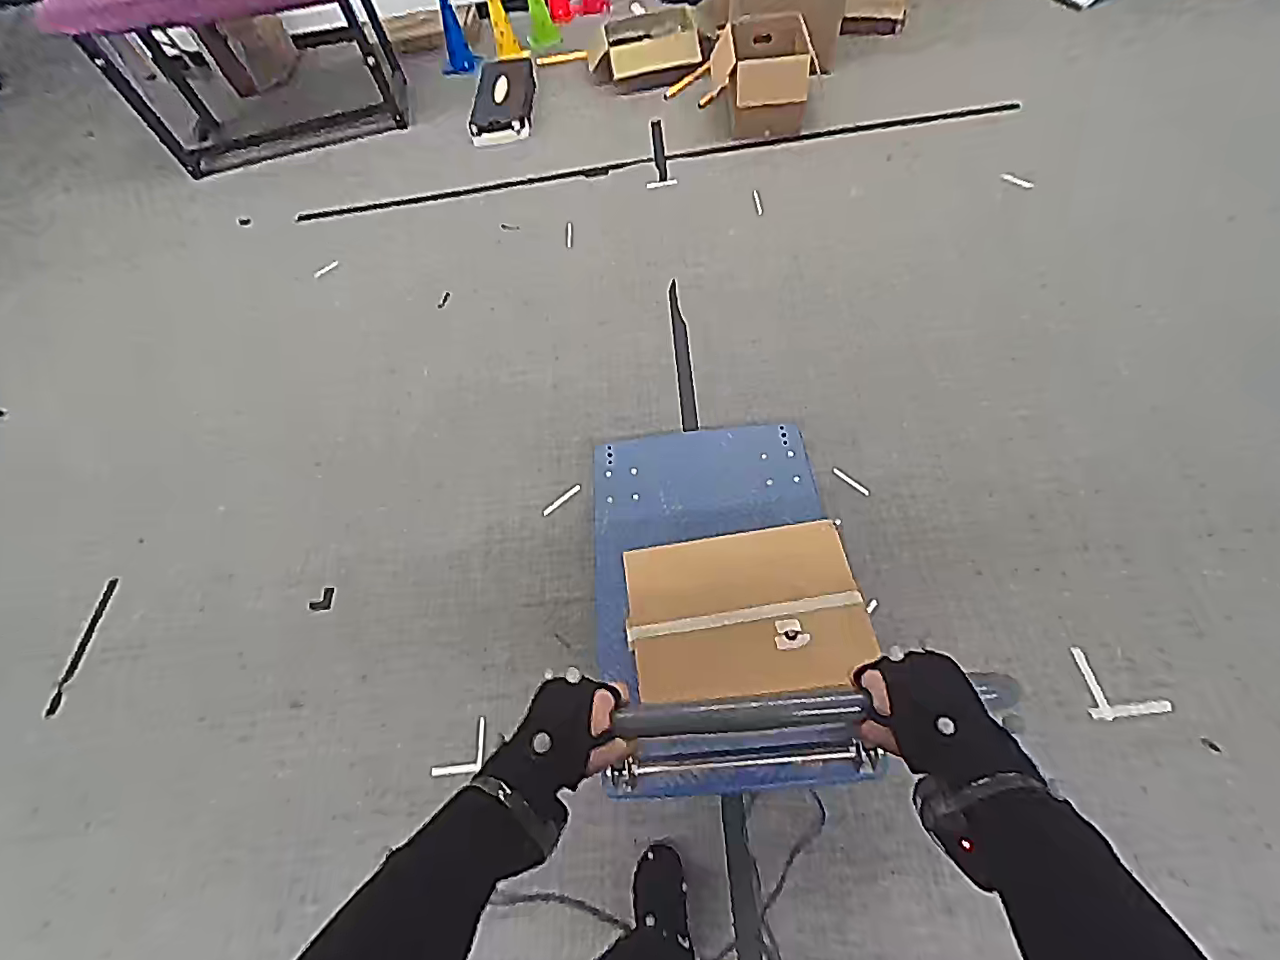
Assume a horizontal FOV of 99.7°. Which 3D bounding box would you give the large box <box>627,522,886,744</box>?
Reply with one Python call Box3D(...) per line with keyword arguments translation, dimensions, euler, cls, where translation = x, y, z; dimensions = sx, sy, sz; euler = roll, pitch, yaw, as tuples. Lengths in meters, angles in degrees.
Box3D(translation=(0.203, 0.320, 1.089), dimensions=(0.408, 0.320, 0.320), euler=(-9, 60, 1), cls="large box")
